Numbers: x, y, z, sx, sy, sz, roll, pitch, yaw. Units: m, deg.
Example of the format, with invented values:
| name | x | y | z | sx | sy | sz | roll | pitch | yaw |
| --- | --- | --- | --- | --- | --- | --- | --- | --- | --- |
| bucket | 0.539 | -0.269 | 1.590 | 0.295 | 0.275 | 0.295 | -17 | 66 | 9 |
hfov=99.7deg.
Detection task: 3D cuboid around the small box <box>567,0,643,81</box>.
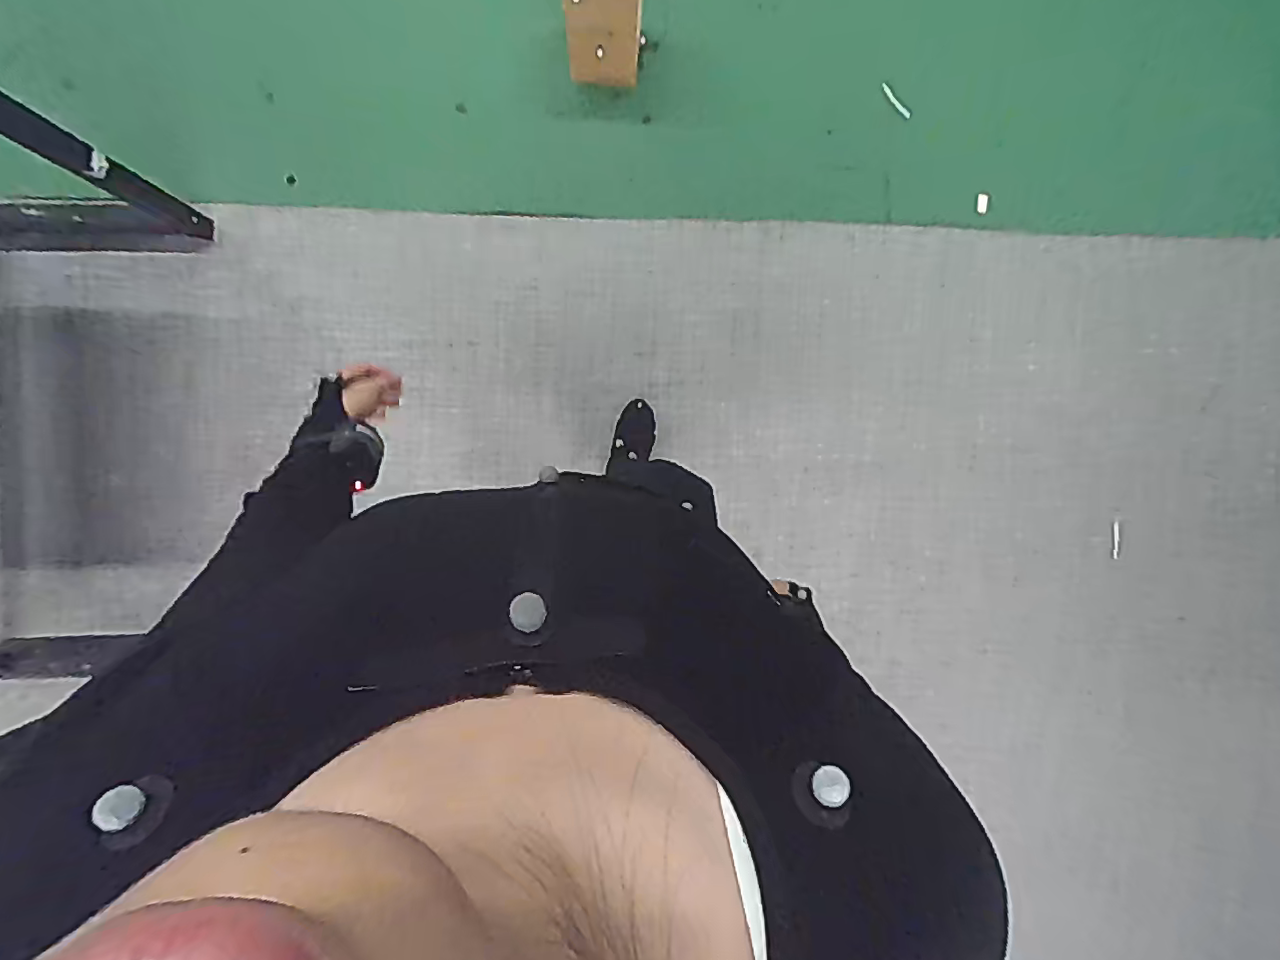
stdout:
| name | x | y | z | sx | sy | sz | roll | pitch | yaw |
| --- | --- | --- | --- | --- | --- | --- | --- | --- | --- |
| small box | -0.085 | -1.149 | 1.363 | 0.179 | 0.176 | 0.168 | 4 | 92 | -3 |
